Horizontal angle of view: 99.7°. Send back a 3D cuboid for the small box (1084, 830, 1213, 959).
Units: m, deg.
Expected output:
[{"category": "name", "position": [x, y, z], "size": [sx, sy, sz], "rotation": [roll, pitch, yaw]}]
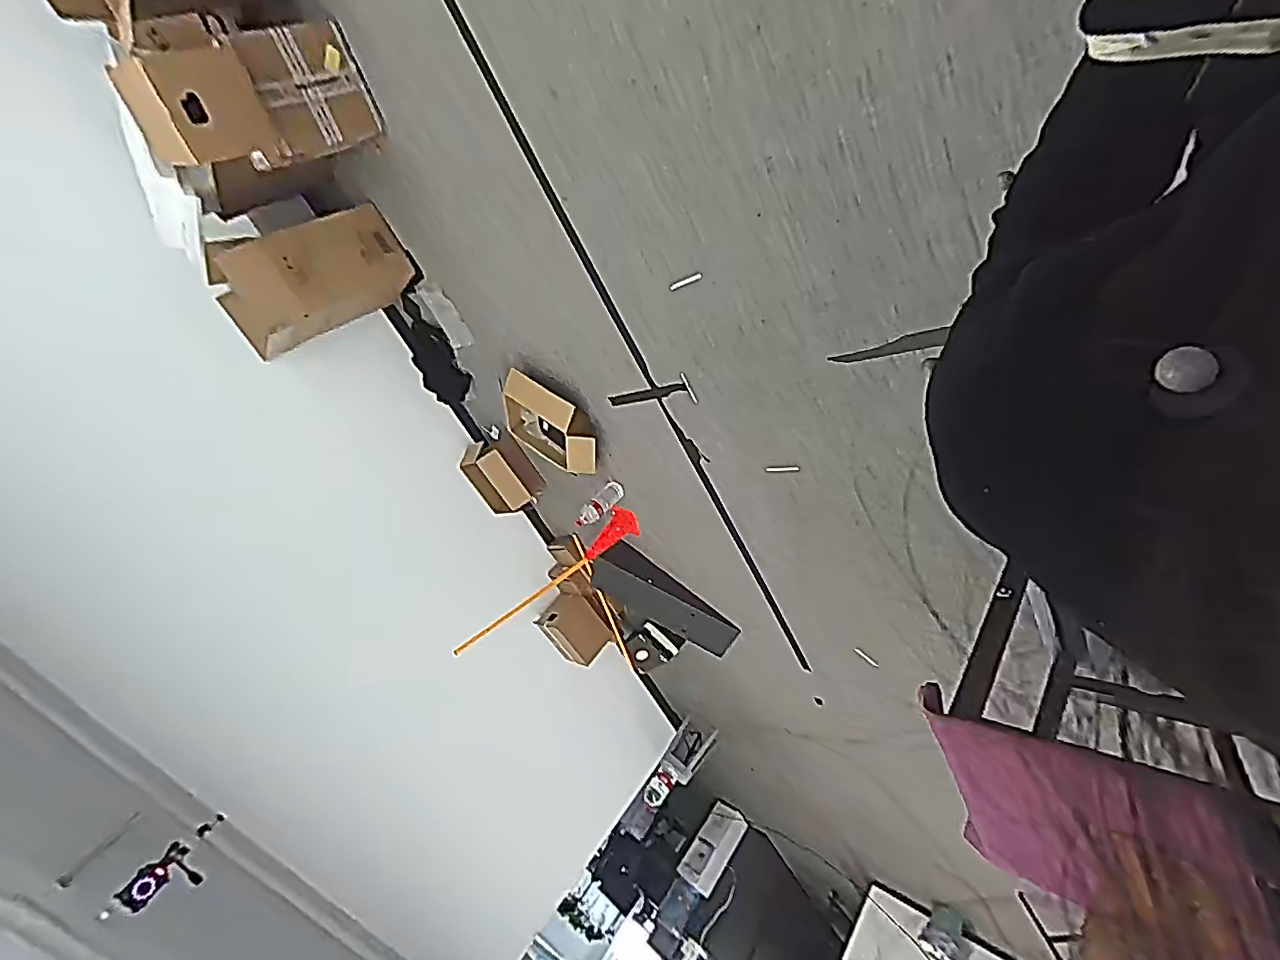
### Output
[{"category": "small box", "position": [0.985, 0.834, 1.049], "size": [0.168, 0.176, 0.179], "rotation": [5, 130, 47]}]
